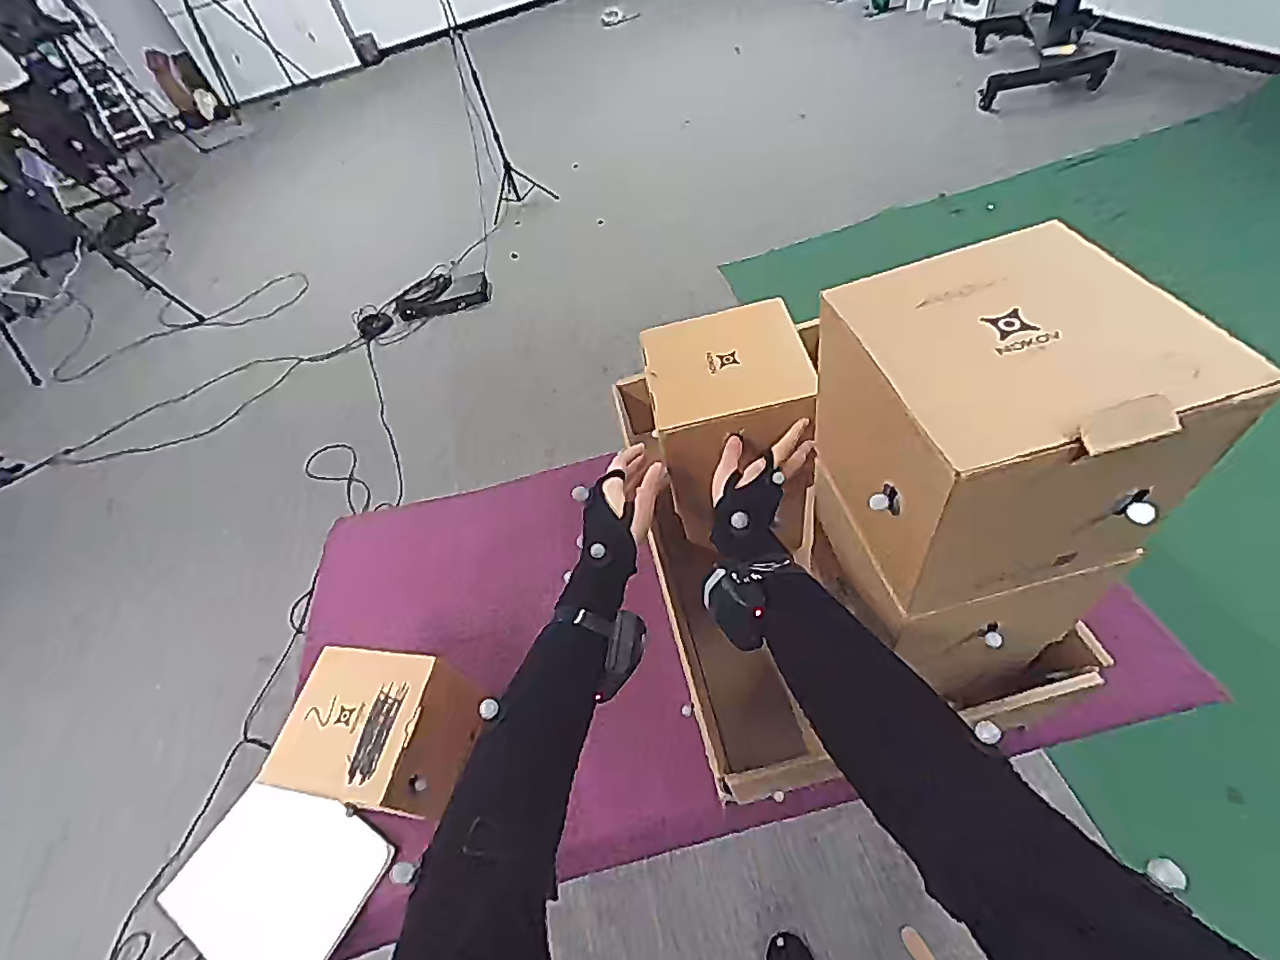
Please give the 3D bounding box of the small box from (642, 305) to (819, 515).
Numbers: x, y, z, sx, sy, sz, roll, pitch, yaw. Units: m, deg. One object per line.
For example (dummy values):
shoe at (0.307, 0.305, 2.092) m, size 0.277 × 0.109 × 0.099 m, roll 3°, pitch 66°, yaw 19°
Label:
small box at (0.110, -0.079, 0.662) m, size 0.179 × 0.176 × 0.168 m, roll -13°, pitch 52°, yaw 6°

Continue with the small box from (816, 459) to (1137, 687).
small box at (0.274, 0.068, 0.497) m, size 0.179 × 0.176 × 0.168 m, roll -17°, pitch 49°, yaw 4°

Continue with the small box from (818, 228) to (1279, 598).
small box at (0.235, -0.036, 0.377) m, size 0.168 × 0.176 × 0.179 m, roll -16°, pitch 49°, yaw 3°
